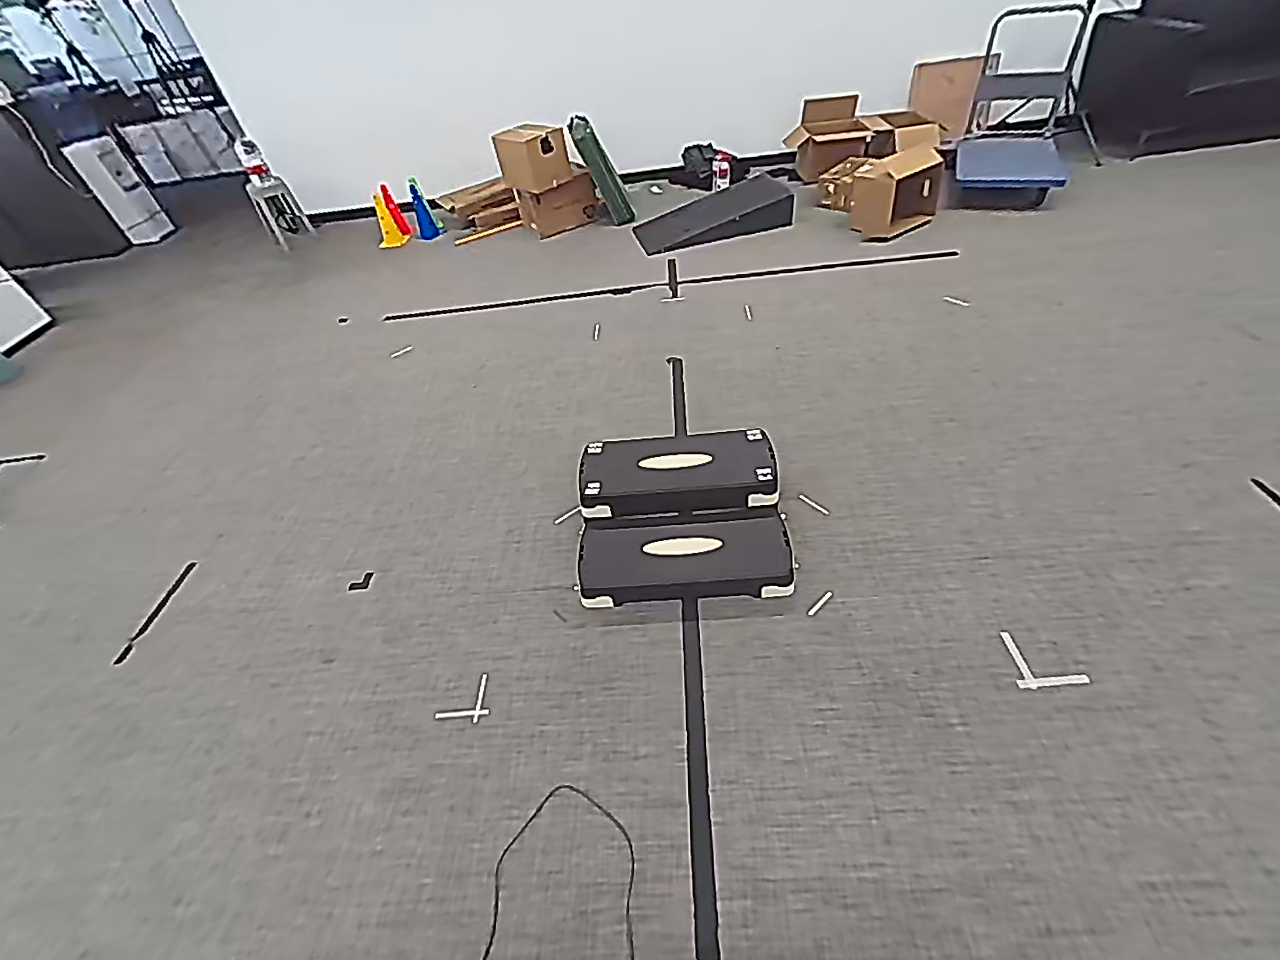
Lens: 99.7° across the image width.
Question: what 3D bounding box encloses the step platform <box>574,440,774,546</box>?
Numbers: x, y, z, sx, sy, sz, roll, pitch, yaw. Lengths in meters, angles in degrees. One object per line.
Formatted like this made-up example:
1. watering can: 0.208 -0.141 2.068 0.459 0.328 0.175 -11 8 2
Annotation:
1. step platform: 0.114 0.038 1.887 0.684 0.204 0.286 -5 45 4
